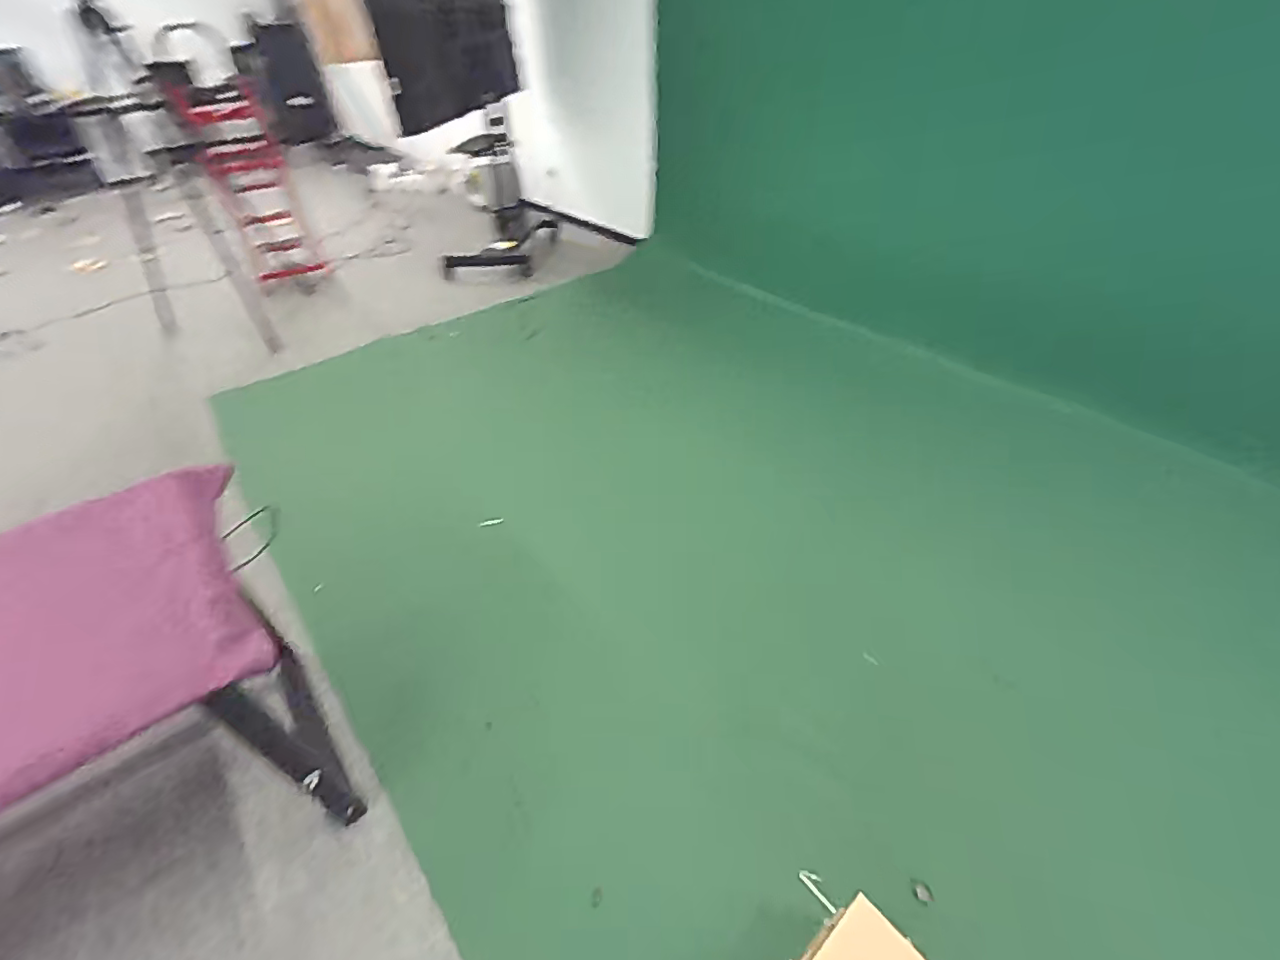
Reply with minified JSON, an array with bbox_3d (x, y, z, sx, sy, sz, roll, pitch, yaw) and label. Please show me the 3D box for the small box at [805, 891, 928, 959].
[{"bbox_3d":[0.382,0.850,0.905,0.168,0.176,0.179,-31,50,-27],"label":"small box"}]
